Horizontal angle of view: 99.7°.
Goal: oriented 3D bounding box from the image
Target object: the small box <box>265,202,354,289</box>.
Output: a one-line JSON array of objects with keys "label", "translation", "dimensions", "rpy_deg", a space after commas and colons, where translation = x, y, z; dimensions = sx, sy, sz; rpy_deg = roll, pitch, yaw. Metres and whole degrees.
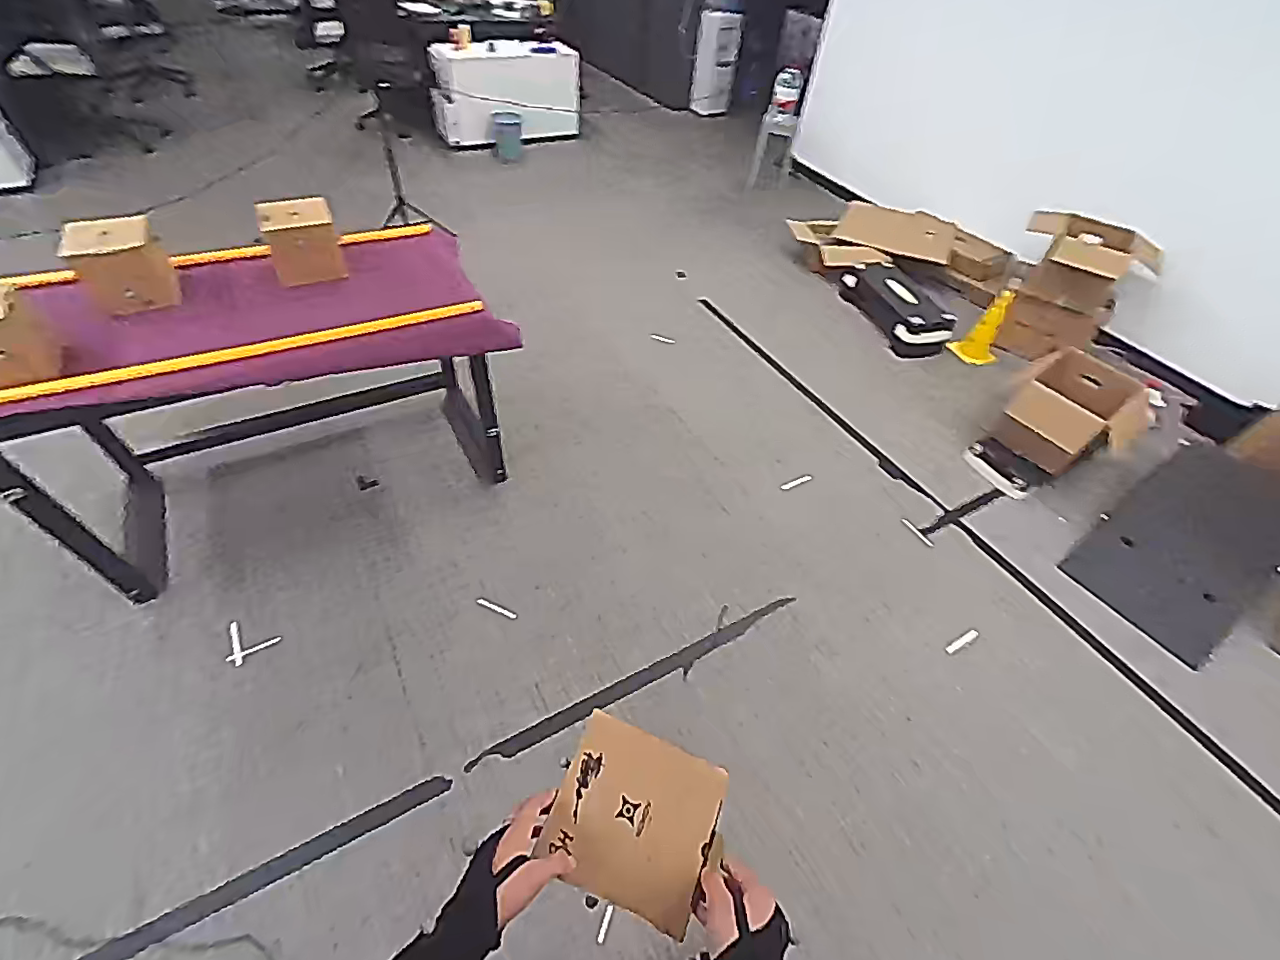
[{"label": "small box", "translation": [-0.963, -0.687, 1.588], "dimensions": [0.179, 0.176, 0.168], "rpy_deg": [-20, 55, -21]}]

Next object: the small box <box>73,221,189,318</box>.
[{"label": "small box", "translation": [-1.334, -0.557, 1.432], "dimensions": [0.168, 0.176, 0.179], "rpy_deg": [-19, 55, -21]}]

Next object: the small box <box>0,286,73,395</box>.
[{"label": "small box", "translation": [-1.420, -0.303, 1.196], "dimensions": [0.179, 0.176, 0.168], "rpy_deg": [-19, 53, -24]}]

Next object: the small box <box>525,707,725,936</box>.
[{"label": "small box", "translation": [-0.021, 0.404, 0.658], "dimensions": [0.179, 0.176, 0.168], "rpy_deg": [23, 57, 6]}]
